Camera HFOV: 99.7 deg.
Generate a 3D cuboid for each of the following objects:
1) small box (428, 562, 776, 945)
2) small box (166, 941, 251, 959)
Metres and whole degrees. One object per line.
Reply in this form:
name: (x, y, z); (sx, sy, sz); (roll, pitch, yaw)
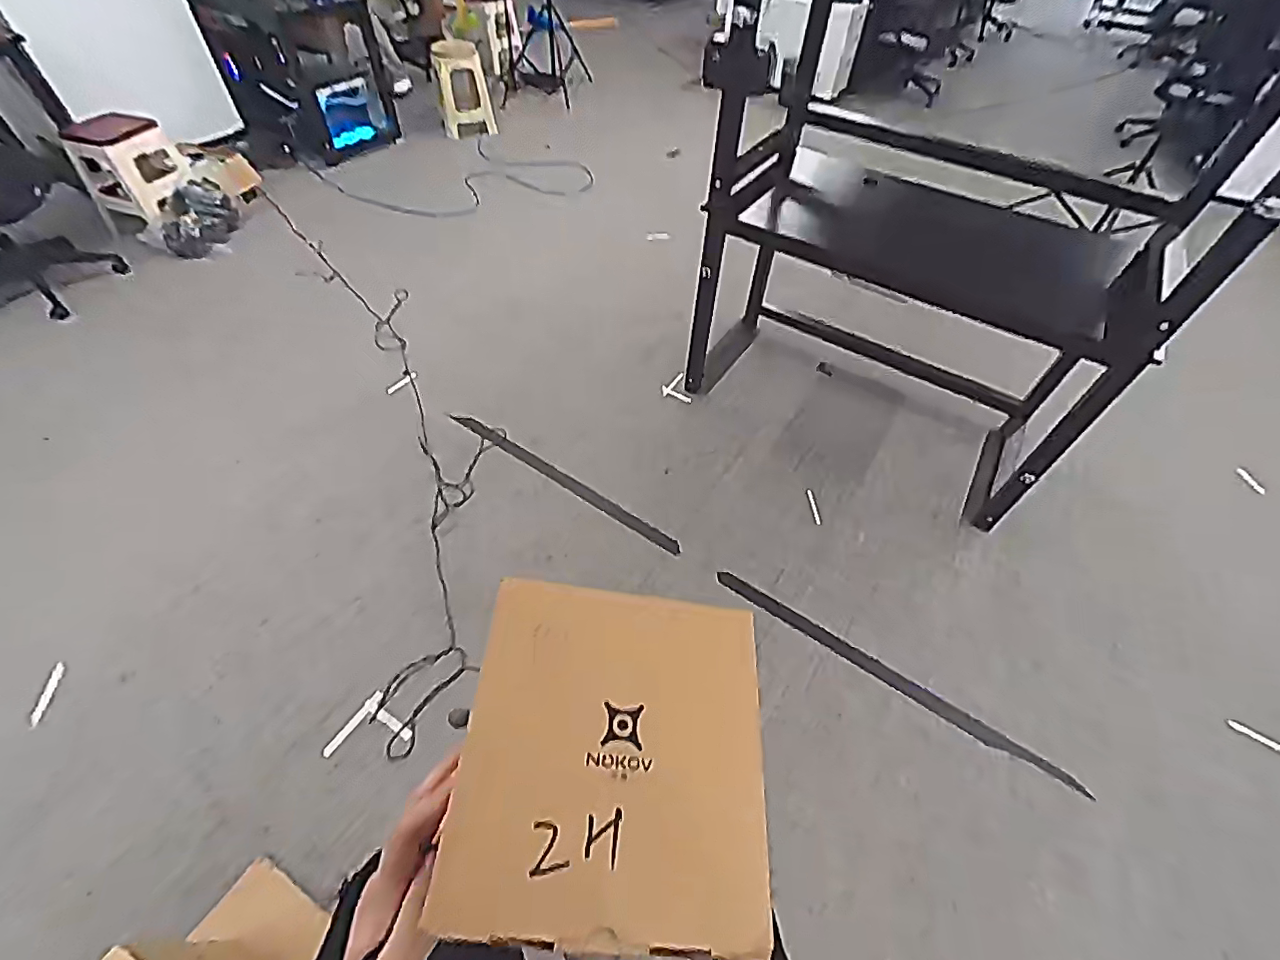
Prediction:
small box: (-0.024, 0.179, 0.358); (0.168, 0.176, 0.179); (10, 54, -6)
small box: (-0.786, 0.957, 0.953); (0.168, 0.176, 0.179); (23, 54, 15)
